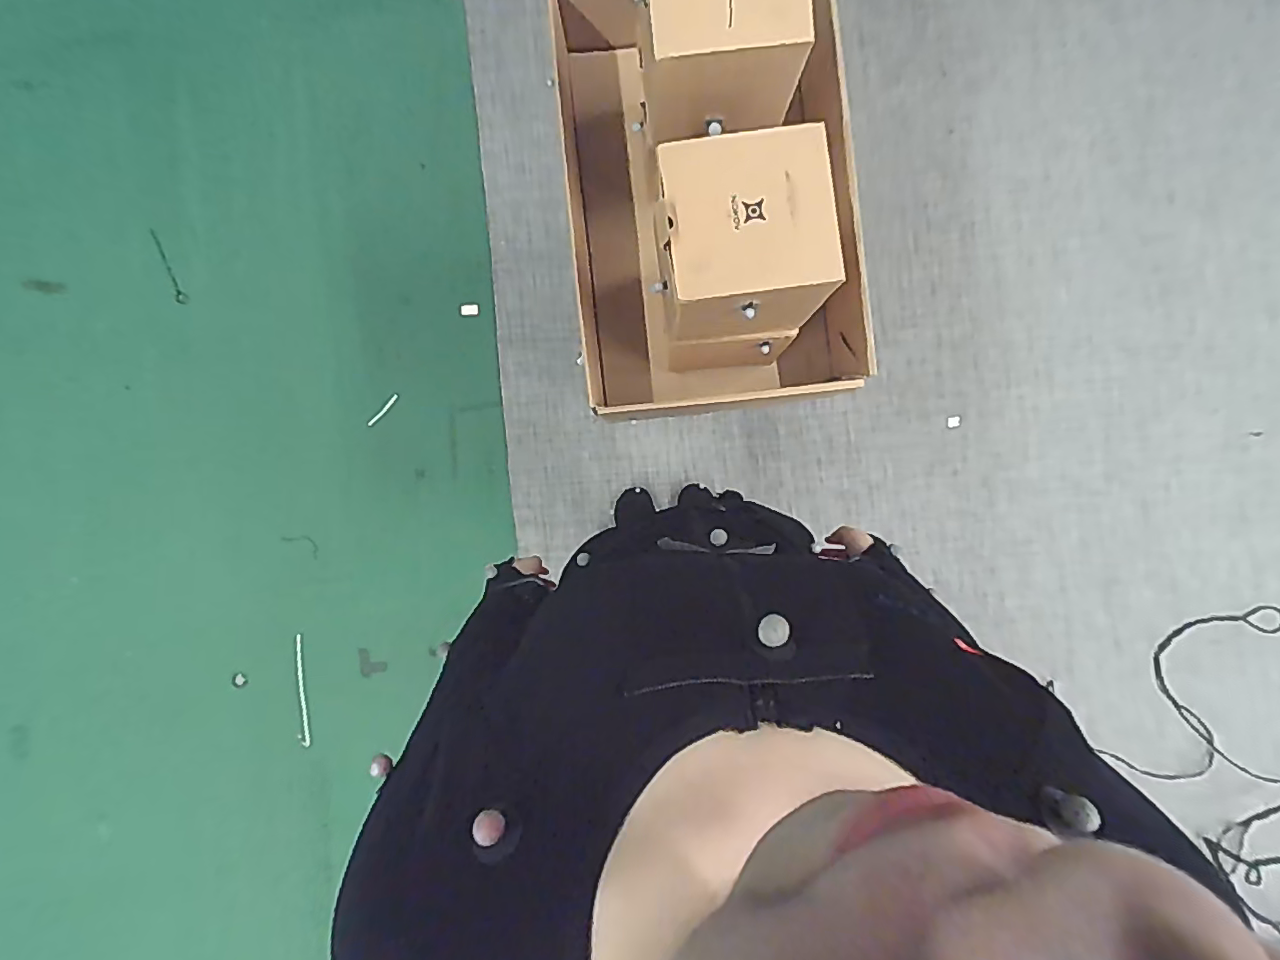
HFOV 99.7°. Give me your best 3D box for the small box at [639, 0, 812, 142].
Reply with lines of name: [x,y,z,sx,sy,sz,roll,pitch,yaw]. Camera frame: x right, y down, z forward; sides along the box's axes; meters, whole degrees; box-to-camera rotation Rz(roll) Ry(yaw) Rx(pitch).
small box: [0.087,-0.526,0.626,0.168,0.176,0.179,-6,92,1]

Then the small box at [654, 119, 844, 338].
small box: [0.113,-0.275,0.630,0.179,0.176,0.168,-8,90,0]

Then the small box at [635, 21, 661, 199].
small box: [0.090,-0.534,0.791,0.179,0.176,0.168,-5,92,2]
